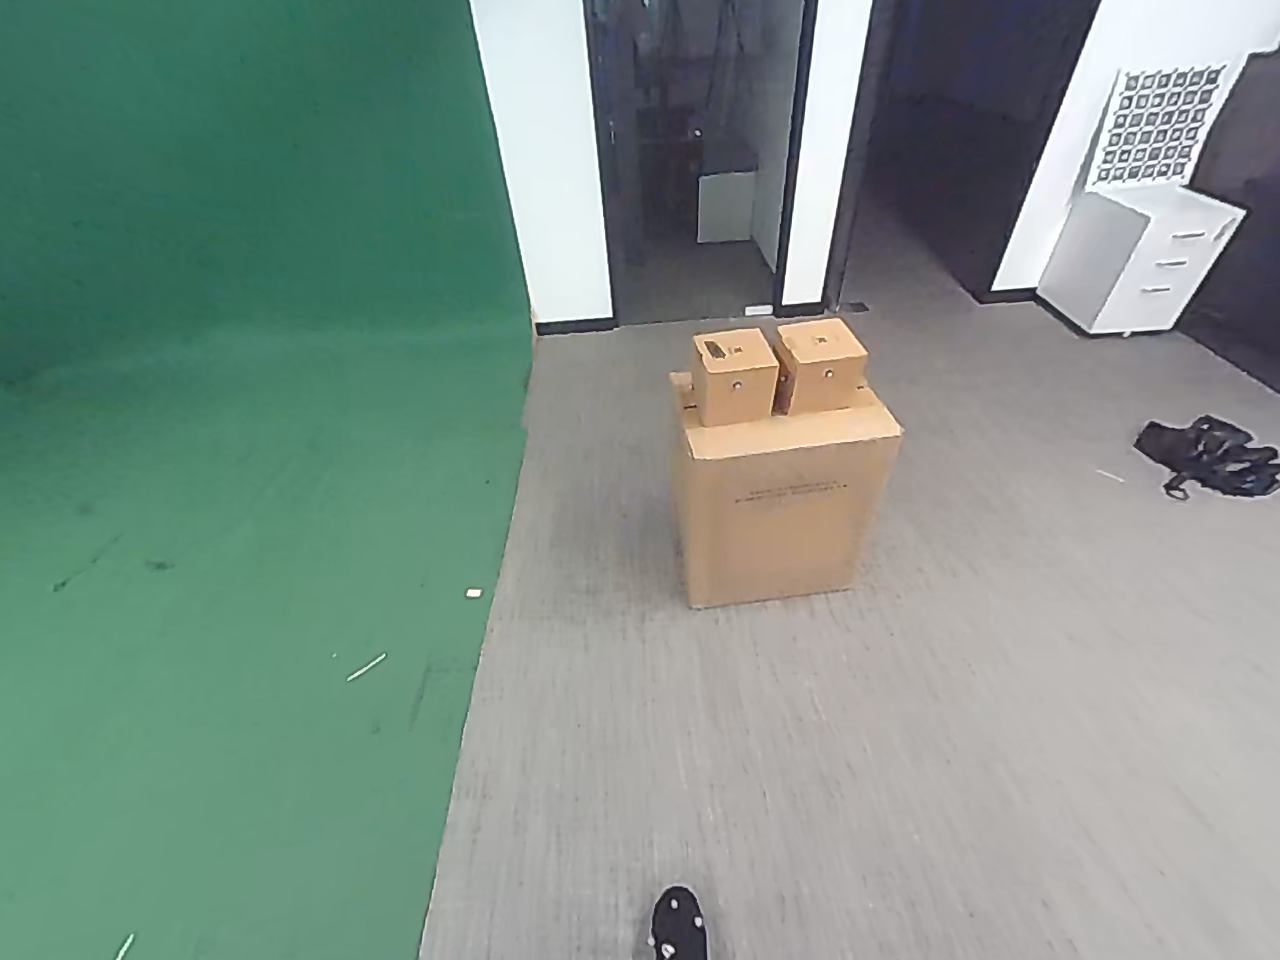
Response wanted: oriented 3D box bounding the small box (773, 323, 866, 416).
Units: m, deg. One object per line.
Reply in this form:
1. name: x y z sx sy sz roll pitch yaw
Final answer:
1. small box: 0.448 -0.282 1.398 0.179 0.176 0.168 -8 48 -6

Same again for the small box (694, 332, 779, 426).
1. small box: 0.237 -0.254 1.382 0.179 0.176 0.168 -8 48 -4
